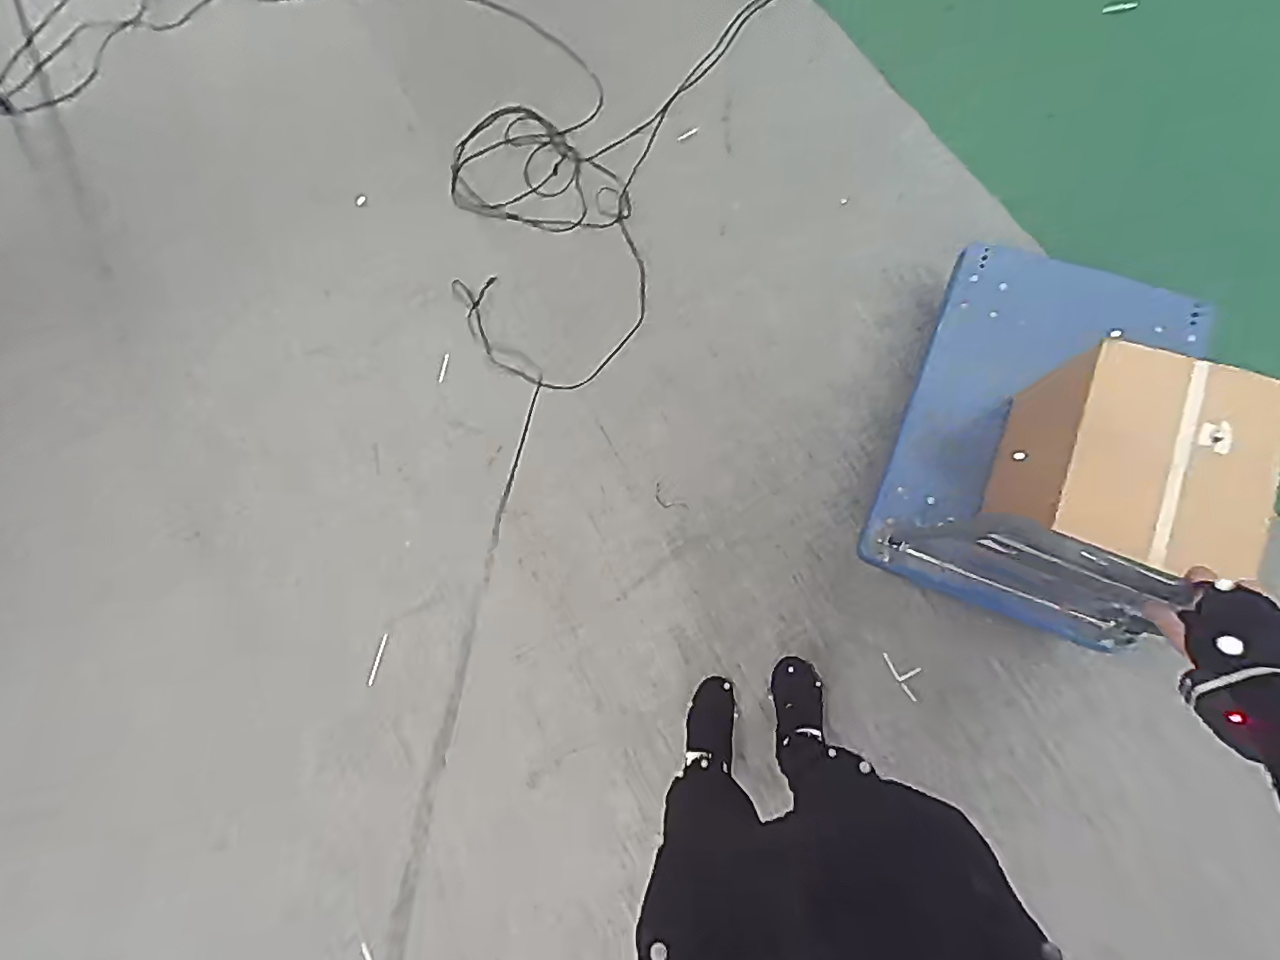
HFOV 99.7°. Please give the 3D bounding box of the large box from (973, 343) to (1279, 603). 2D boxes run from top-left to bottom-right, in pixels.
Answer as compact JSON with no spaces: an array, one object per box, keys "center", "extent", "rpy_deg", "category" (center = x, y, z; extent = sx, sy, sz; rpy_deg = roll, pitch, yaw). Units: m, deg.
[{"center":[0.940,0.007,1.088],"extent":[0.320,0.320,0.408],"rpy_deg":[20,81,10],"category":"large box"}]
